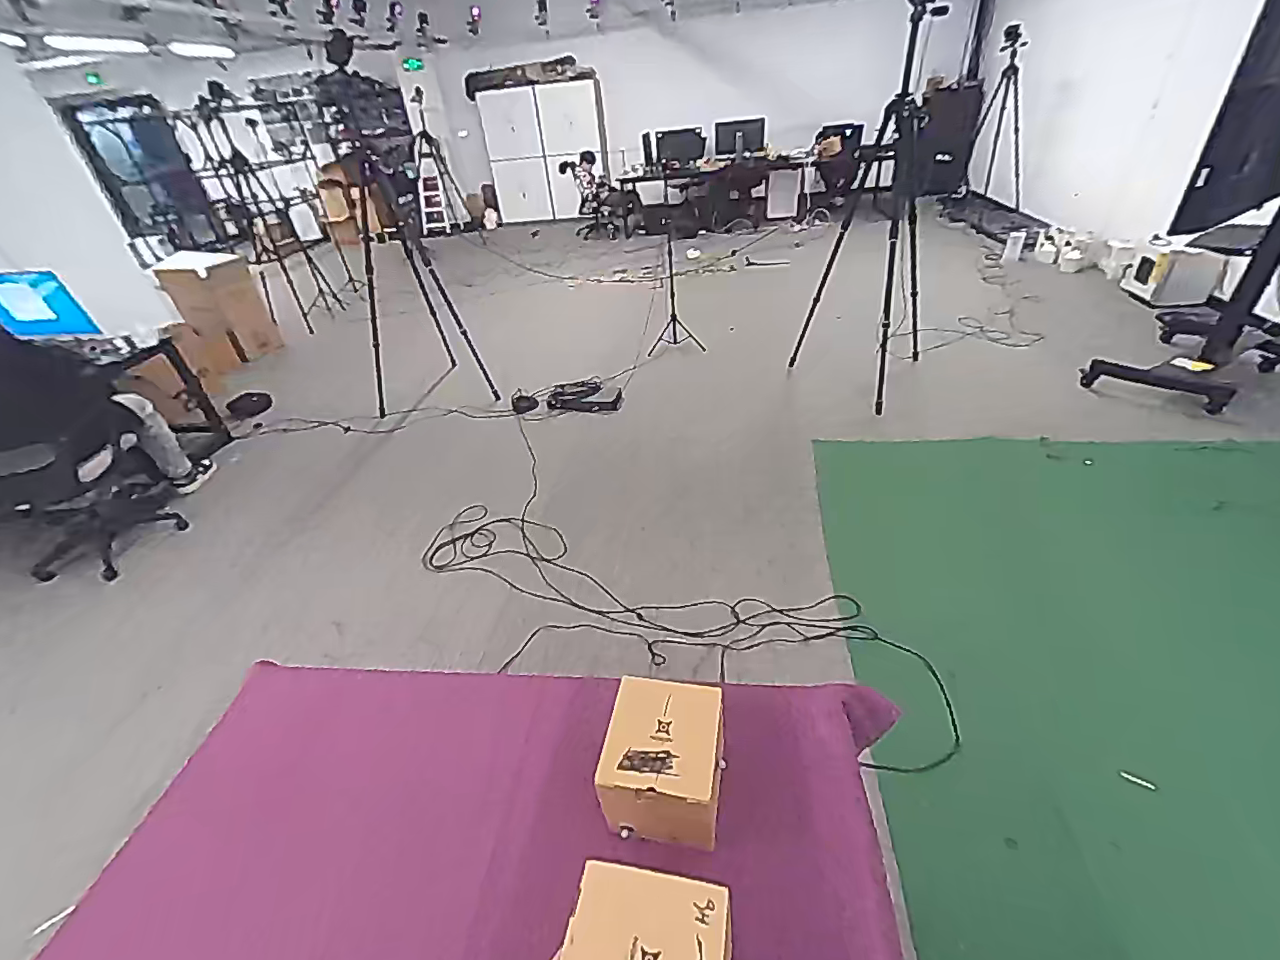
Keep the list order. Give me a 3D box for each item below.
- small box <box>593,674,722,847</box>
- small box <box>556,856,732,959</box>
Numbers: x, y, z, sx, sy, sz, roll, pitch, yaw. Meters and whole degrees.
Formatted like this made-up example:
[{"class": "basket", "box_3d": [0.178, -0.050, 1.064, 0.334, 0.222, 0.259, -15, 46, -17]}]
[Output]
[{"class": "small box", "box_3d": [0.039, 0.438, 0.847, 0.168, 0.176, 0.179, 3, 36, 13]}, {"class": "small box", "box_3d": [0.008, 0.571, 0.616, 0.179, 0.176, 0.168, 2, 35, 14]}]
